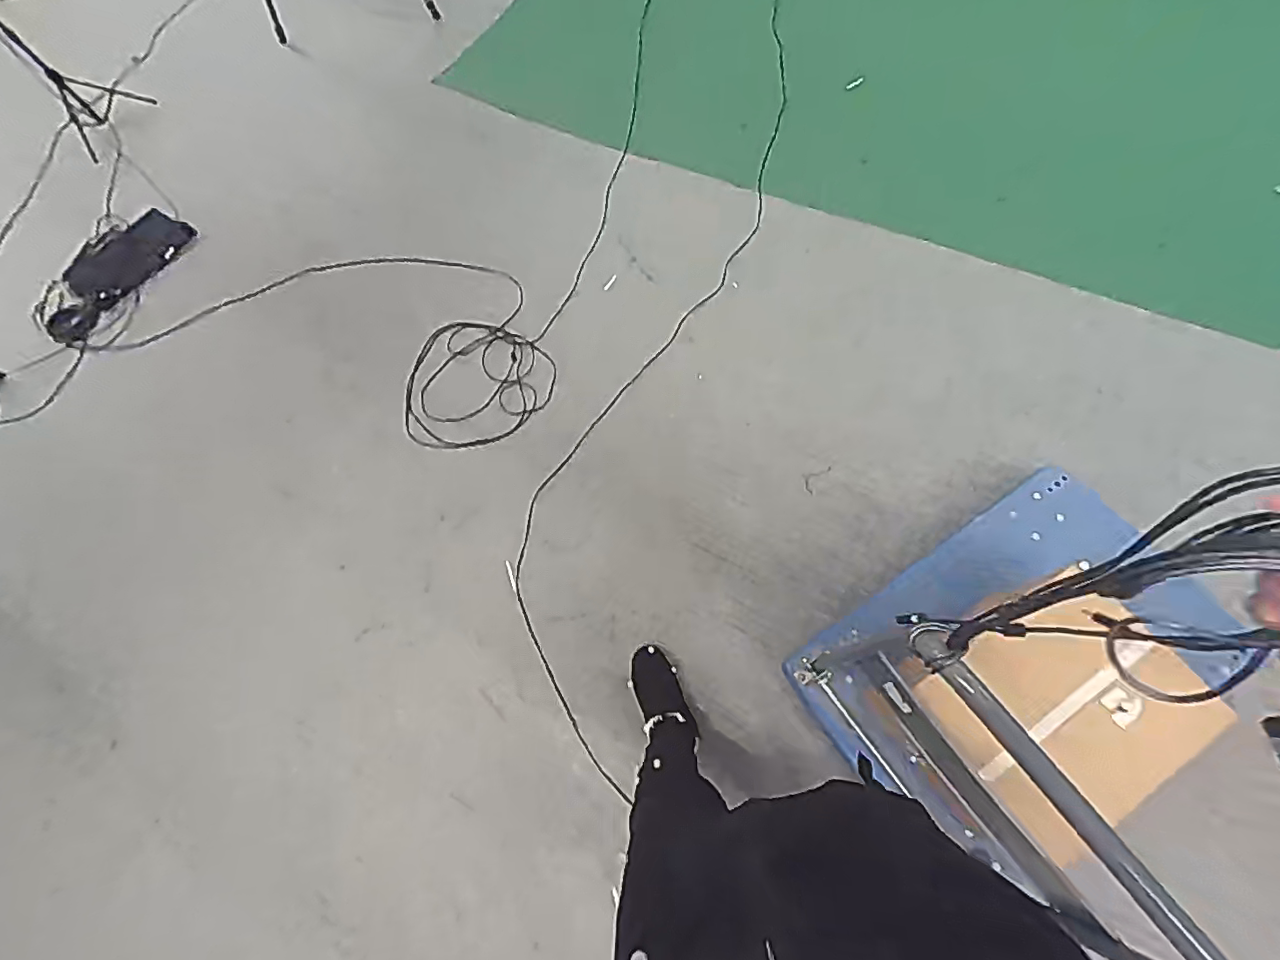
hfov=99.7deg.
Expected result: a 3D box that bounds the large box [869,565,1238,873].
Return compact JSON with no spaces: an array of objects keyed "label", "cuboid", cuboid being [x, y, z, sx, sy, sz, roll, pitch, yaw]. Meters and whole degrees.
[{"label":"large box","cuboid":[0.728,0.432,1.028,0.408,0.320,0.320,-33,68,-8]}]
